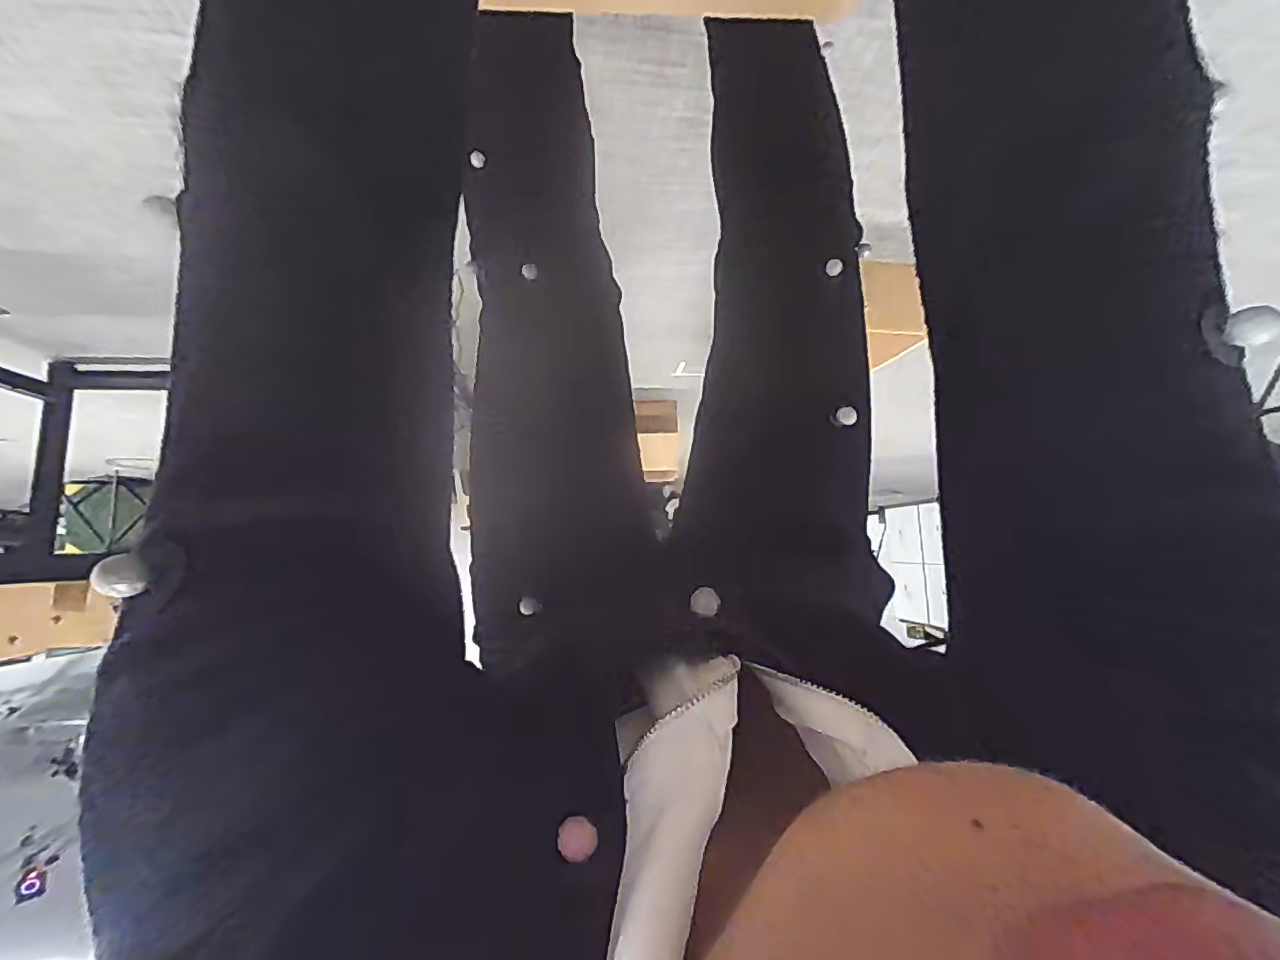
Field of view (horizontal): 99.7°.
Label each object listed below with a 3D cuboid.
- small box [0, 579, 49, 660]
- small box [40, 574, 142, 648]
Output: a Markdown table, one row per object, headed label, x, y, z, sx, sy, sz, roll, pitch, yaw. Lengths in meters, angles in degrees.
| label | x | y | z | sx | sy | sz | roll | pitch | yaw |
| --- | --- | --- | --- | --- | --- | --- | --- | --- | --- |
| small box | -1.441 | 0.301 | 1.160 | 0.168 | 0.176 | 0.179 | -1 | 172 | -6 |
| small box | -1.461 | 0.337 | 1.414 | 0.179 | 0.176 | 0.168 | -2 | 172 | -1 |
